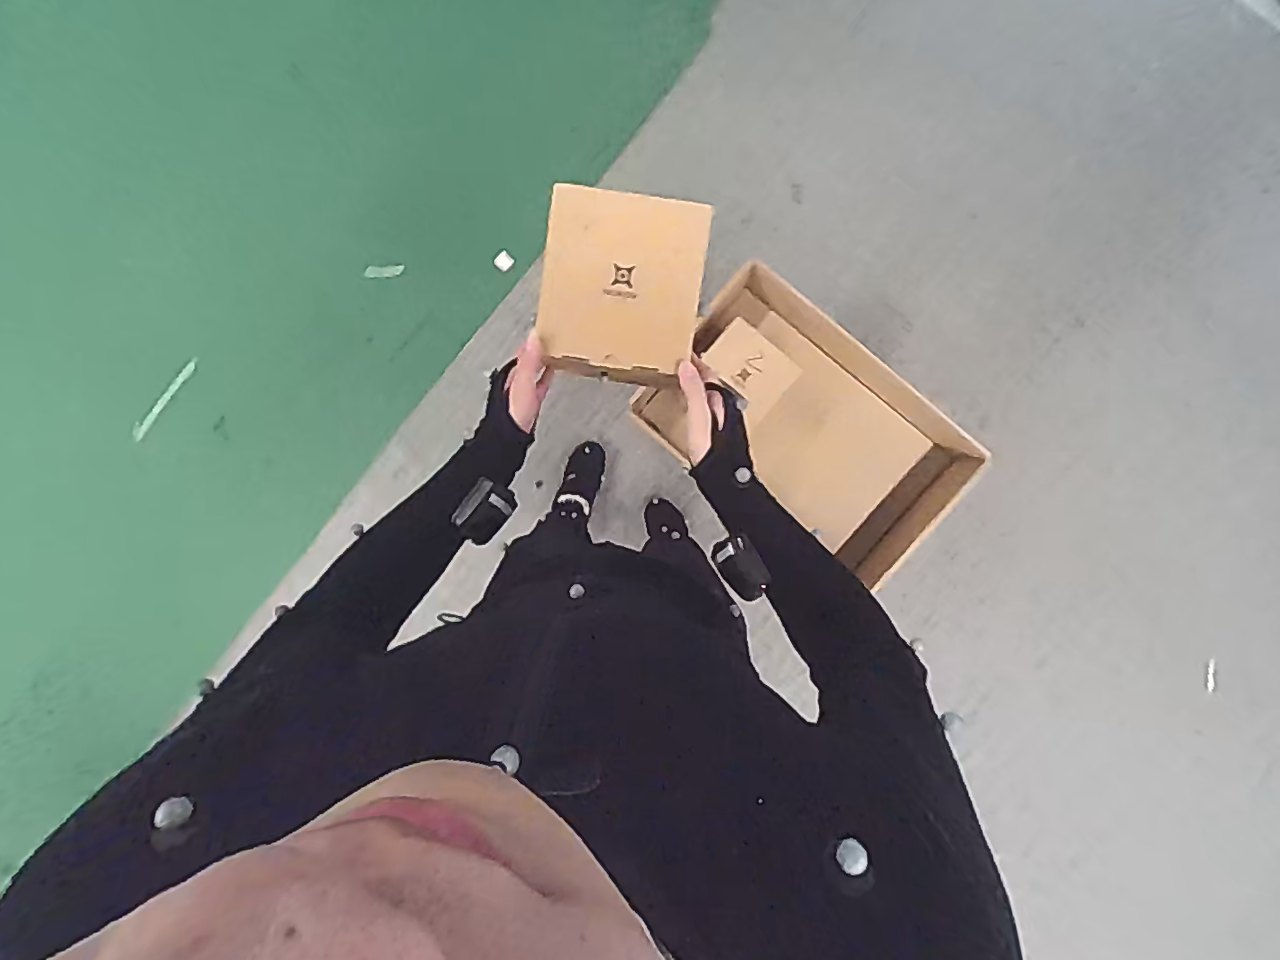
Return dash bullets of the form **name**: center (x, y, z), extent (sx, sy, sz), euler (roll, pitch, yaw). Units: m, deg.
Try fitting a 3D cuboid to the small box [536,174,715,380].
- **small box**: center (-0.018, -0.220, 0.633), extent (0.168, 0.176, 0.179), euler (8, 97, -2)
